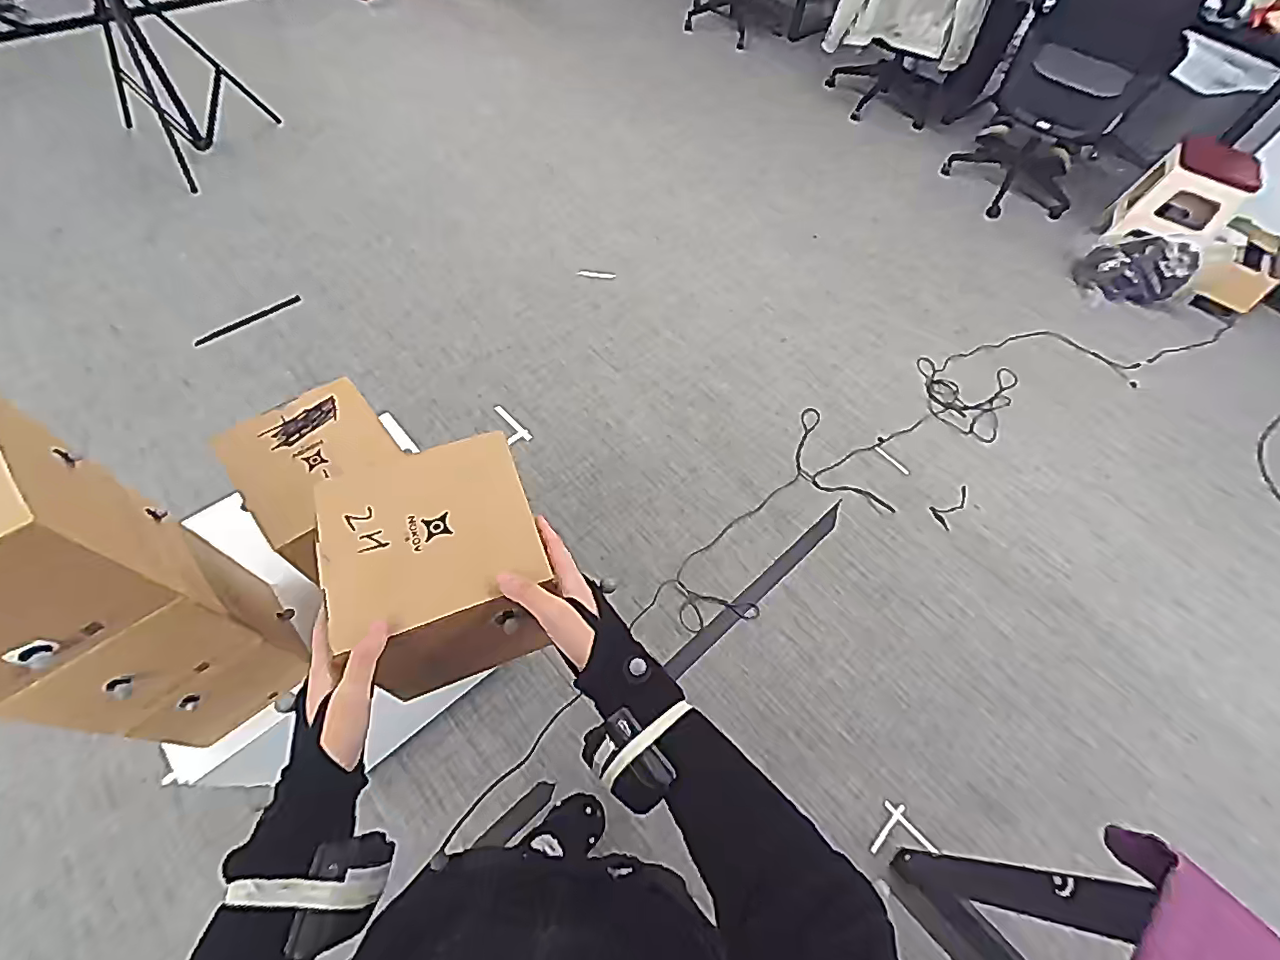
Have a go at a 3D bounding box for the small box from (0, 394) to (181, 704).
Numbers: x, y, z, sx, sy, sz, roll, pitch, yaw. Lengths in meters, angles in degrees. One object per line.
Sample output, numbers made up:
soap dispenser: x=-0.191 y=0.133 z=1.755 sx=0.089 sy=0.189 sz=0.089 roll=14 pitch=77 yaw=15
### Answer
small box: x=-0.550 y=0.059 z=0.452 sx=0.168 sy=0.176 sz=0.179 roll=-38 pitch=70 yaw=-23

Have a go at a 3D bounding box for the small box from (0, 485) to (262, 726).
small box: x=-0.564 y=0.144 z=0.590 sx=0.168 sy=0.176 sz=0.179 roll=-38 pitch=69 yaw=-24

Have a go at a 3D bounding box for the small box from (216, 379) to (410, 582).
small box: x=-0.375 y=0.013 z=0.685 sx=0.168 sy=0.176 sz=0.179 roll=-35 pitch=70 yaw=-22

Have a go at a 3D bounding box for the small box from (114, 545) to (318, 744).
small box: x=-0.580 y=0.227 z=0.730 sx=0.168 sy=0.176 sz=0.179 roll=-36 pitch=68 yaw=-24

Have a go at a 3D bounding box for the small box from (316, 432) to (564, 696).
small box: x=-0.178 y=0.085 z=0.523 sx=0.179 sy=0.176 sz=0.168 roll=-18 pitch=60 yaw=-13
